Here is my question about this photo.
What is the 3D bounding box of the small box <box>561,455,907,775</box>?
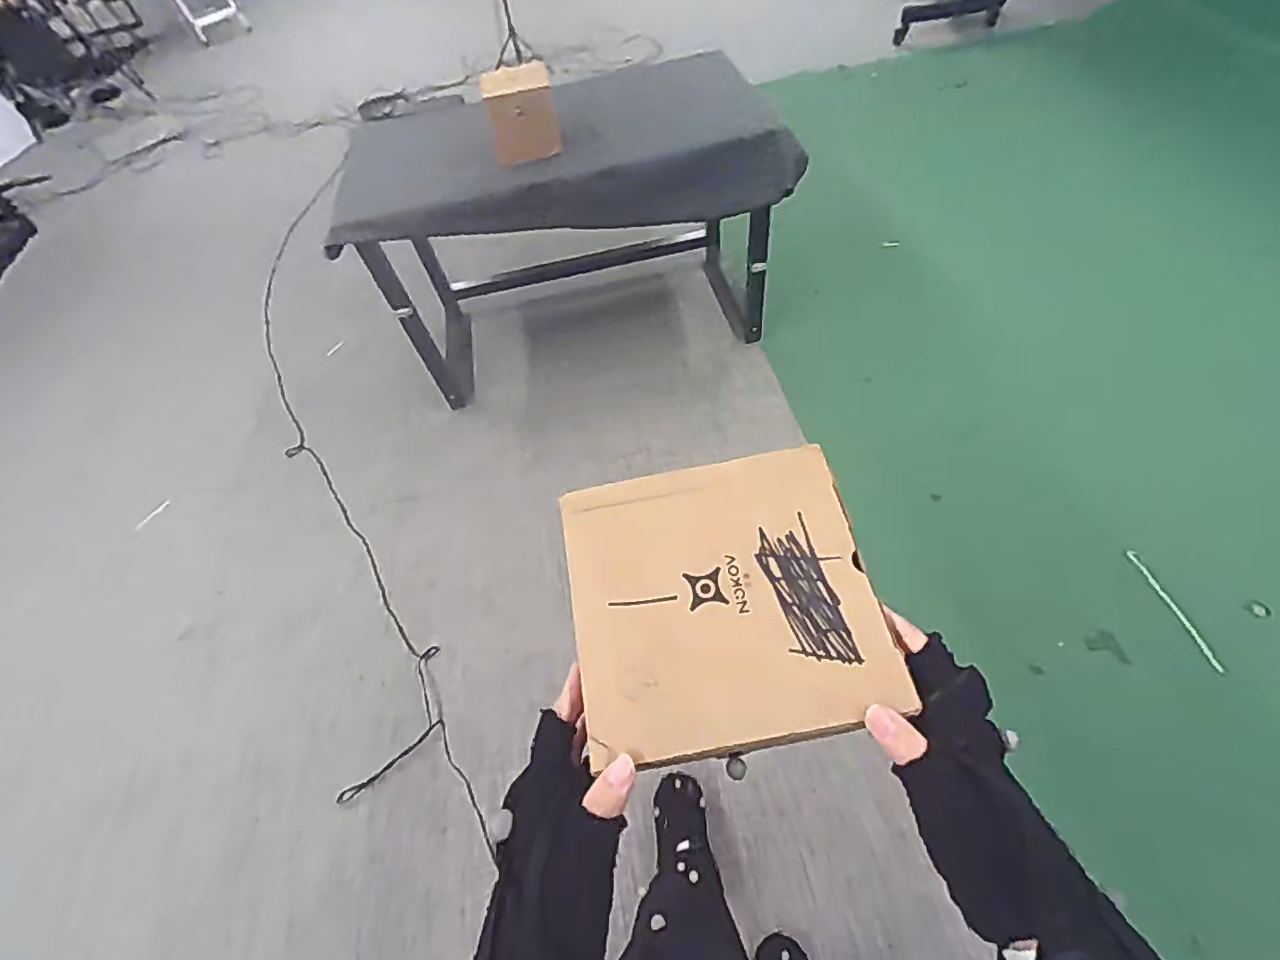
[{"bbox_3d":[0.050,0.104,0.390,0.179,0.176,0.168,-11,62,0],"label":"small box"}]

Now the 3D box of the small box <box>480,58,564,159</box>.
[{"bbox_3d":[-0.312,-0.983,1.439,0.179,0.176,0.168,-12,56,-2],"label":"small box"}]
